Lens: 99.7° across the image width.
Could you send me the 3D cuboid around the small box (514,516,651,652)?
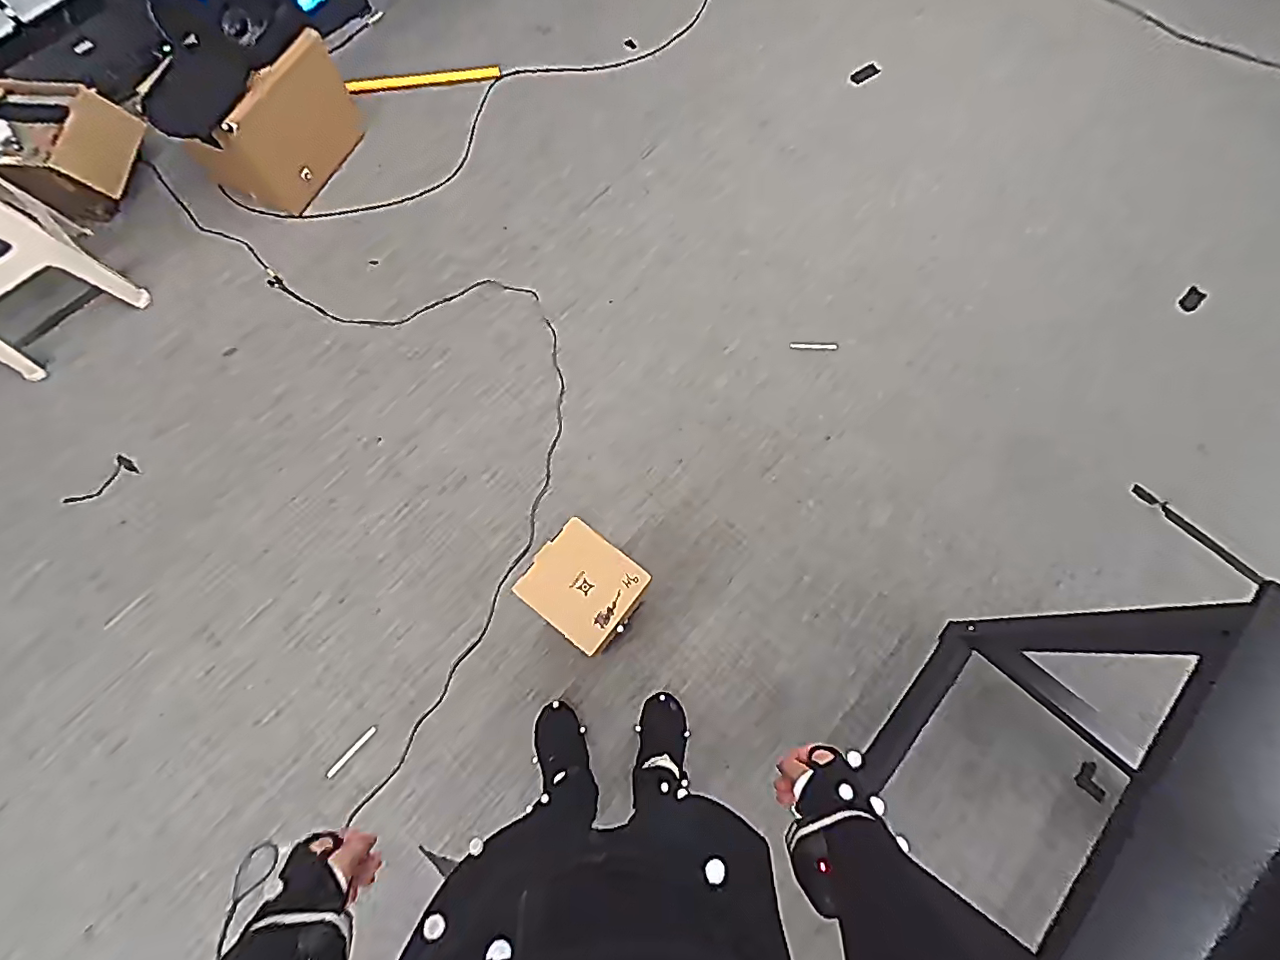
[{"bbox_3d":[-0.099,0.197,0.987,0.179,0.176,0.168,37,75,10],"label":"small box"}]
